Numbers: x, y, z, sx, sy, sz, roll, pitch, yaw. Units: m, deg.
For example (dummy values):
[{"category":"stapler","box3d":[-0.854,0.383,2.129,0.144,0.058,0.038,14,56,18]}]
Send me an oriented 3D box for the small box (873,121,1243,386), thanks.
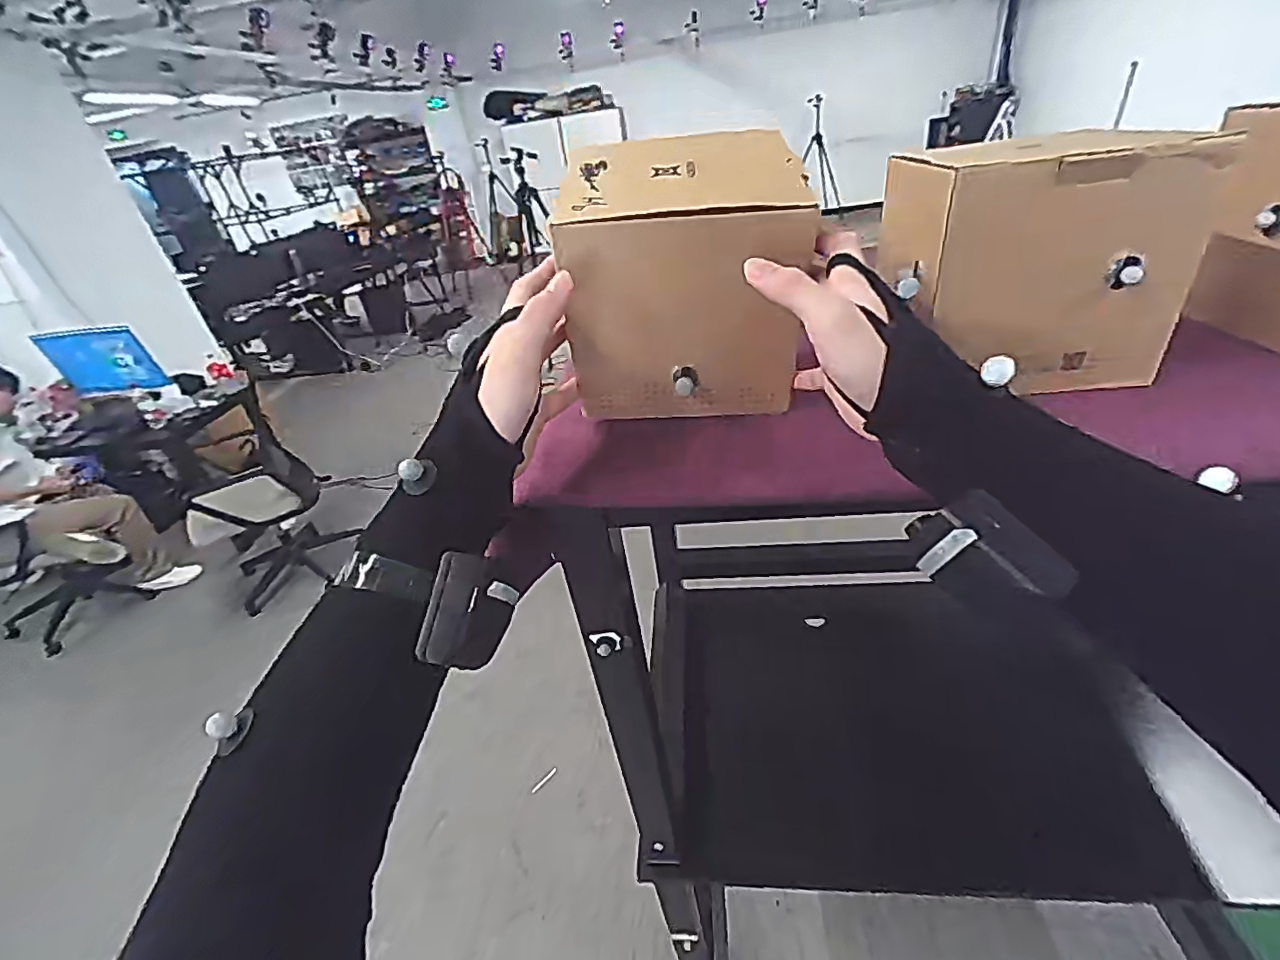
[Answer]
[{"category":"small box","box3d":[0.304,-0.183,0.447,0.168,0.176,0.179,-2,32,9]}]
